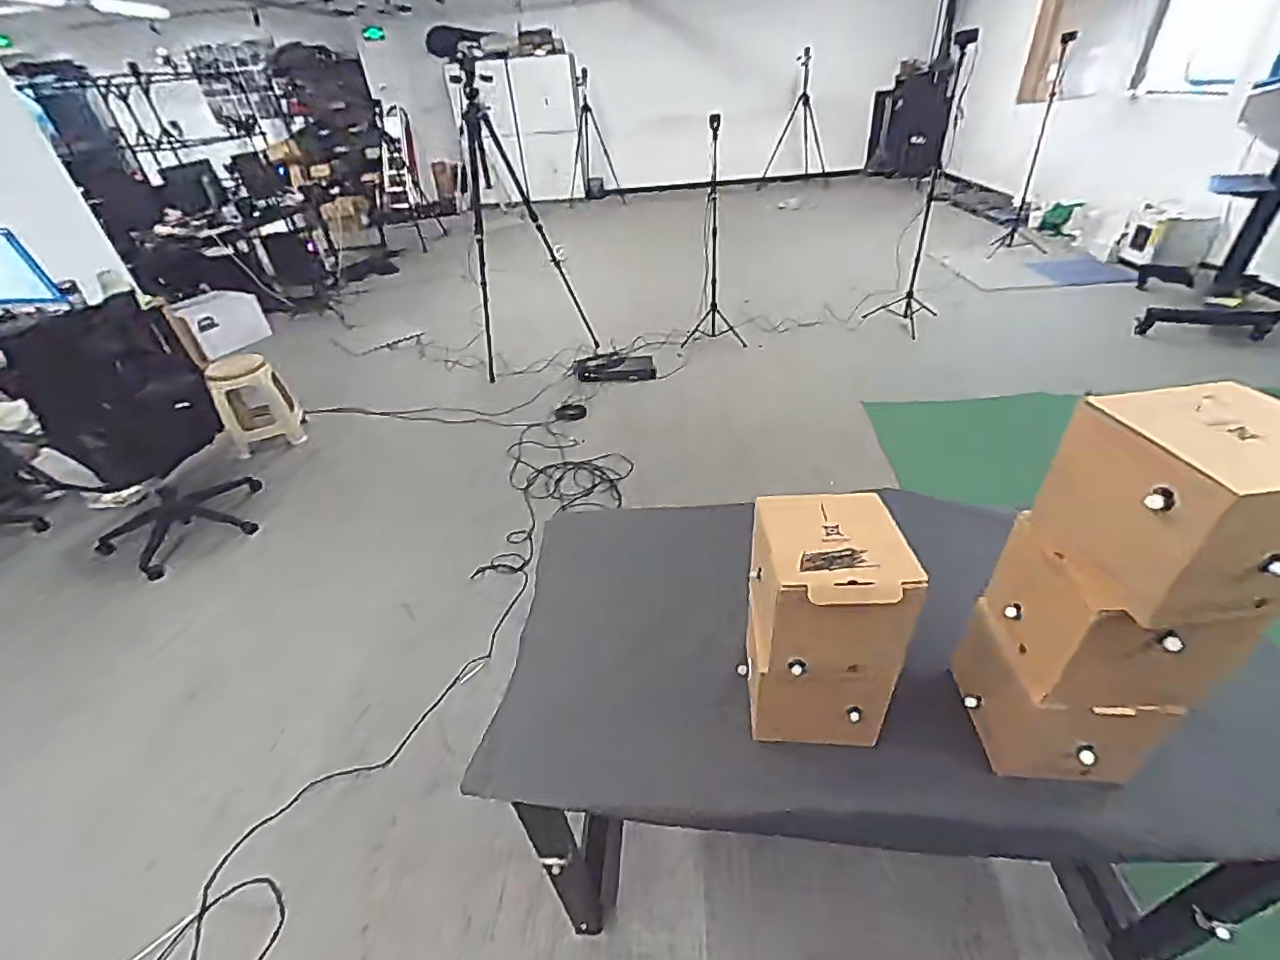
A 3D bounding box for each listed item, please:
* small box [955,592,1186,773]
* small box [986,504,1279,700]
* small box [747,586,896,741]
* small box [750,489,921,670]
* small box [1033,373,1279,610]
[{"bbox_3d":[0.563,0.275,0.740,0.168,0.176,0.179,-1,36,8],"label":"small box"},{"bbox_3d":[0.557,0.143,0.645,0.179,0.176,0.168,-3,35,7],"label":"small box"},{"bbox_3d":[0.253,0.266,0.802,0.179,0.176,0.168,-2,35,7],"label":"small box"},{"bbox_3d":[0.239,0.132,0.709,0.168,0.176,0.179,-3,34,4],"label":"small box"},{"bbox_3d":[0.550,0.014,0.541,0.168,0.176,0.179,-7,35,-1],"label":"small box"}]
